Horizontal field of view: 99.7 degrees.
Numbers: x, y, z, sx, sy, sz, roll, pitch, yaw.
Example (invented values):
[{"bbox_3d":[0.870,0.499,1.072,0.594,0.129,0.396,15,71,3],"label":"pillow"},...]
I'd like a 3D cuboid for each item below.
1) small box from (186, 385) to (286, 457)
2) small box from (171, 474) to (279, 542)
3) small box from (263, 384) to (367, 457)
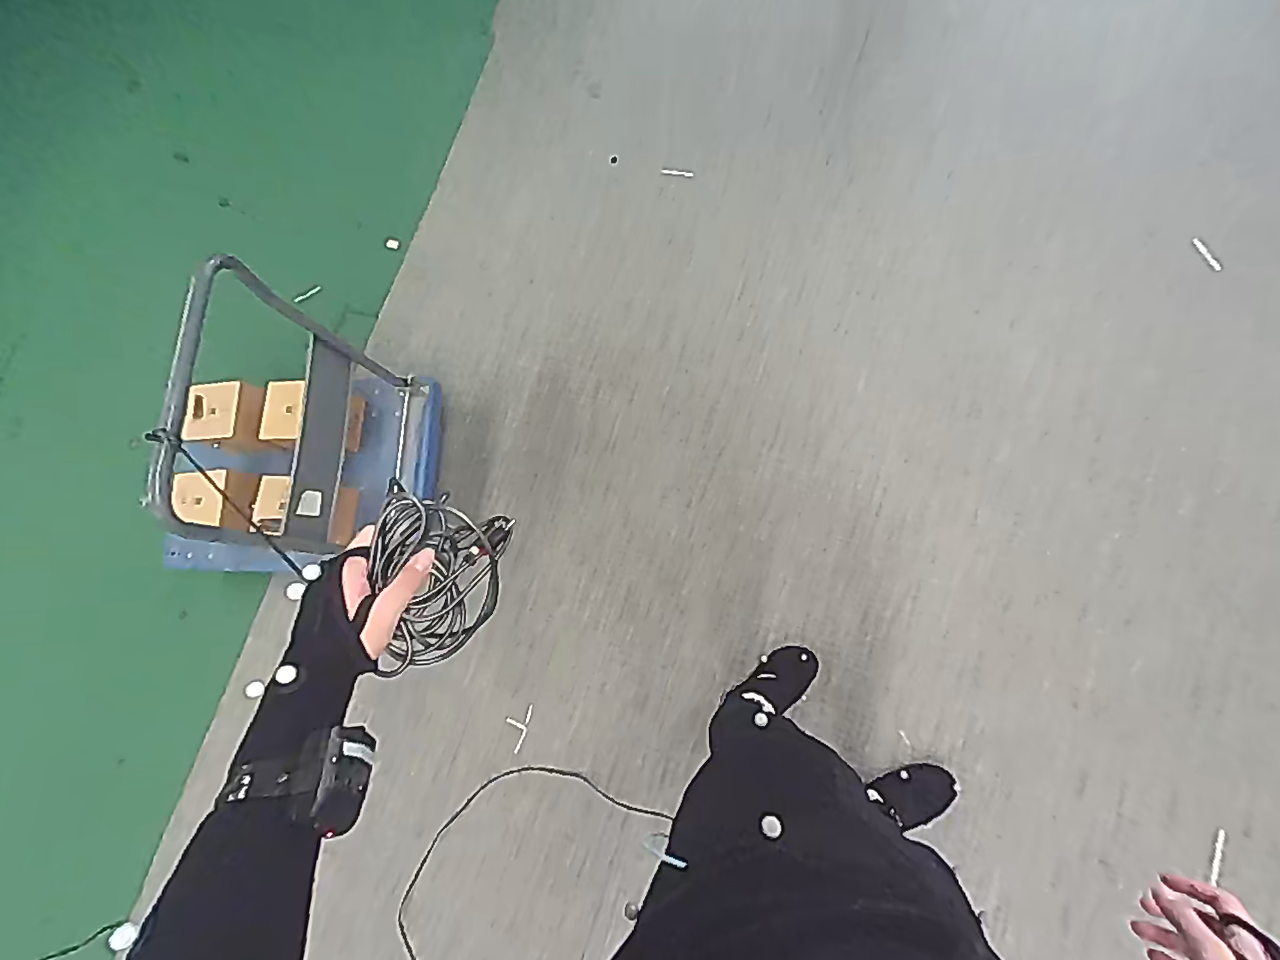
[{"bbox_3d":[-1.176,-0.167,1.596,0.179,0.176,0.168,-3,78,12],"label":"small box"},{"bbox_3d":[-1.172,0.084,1.540,0.179,0.176,0.168,-5,76,12],"label":"small box"},{"bbox_3d":[-0.918,-0.163,1.538,0.179,0.176,0.168,0,78,12],"label":"small box"}]
